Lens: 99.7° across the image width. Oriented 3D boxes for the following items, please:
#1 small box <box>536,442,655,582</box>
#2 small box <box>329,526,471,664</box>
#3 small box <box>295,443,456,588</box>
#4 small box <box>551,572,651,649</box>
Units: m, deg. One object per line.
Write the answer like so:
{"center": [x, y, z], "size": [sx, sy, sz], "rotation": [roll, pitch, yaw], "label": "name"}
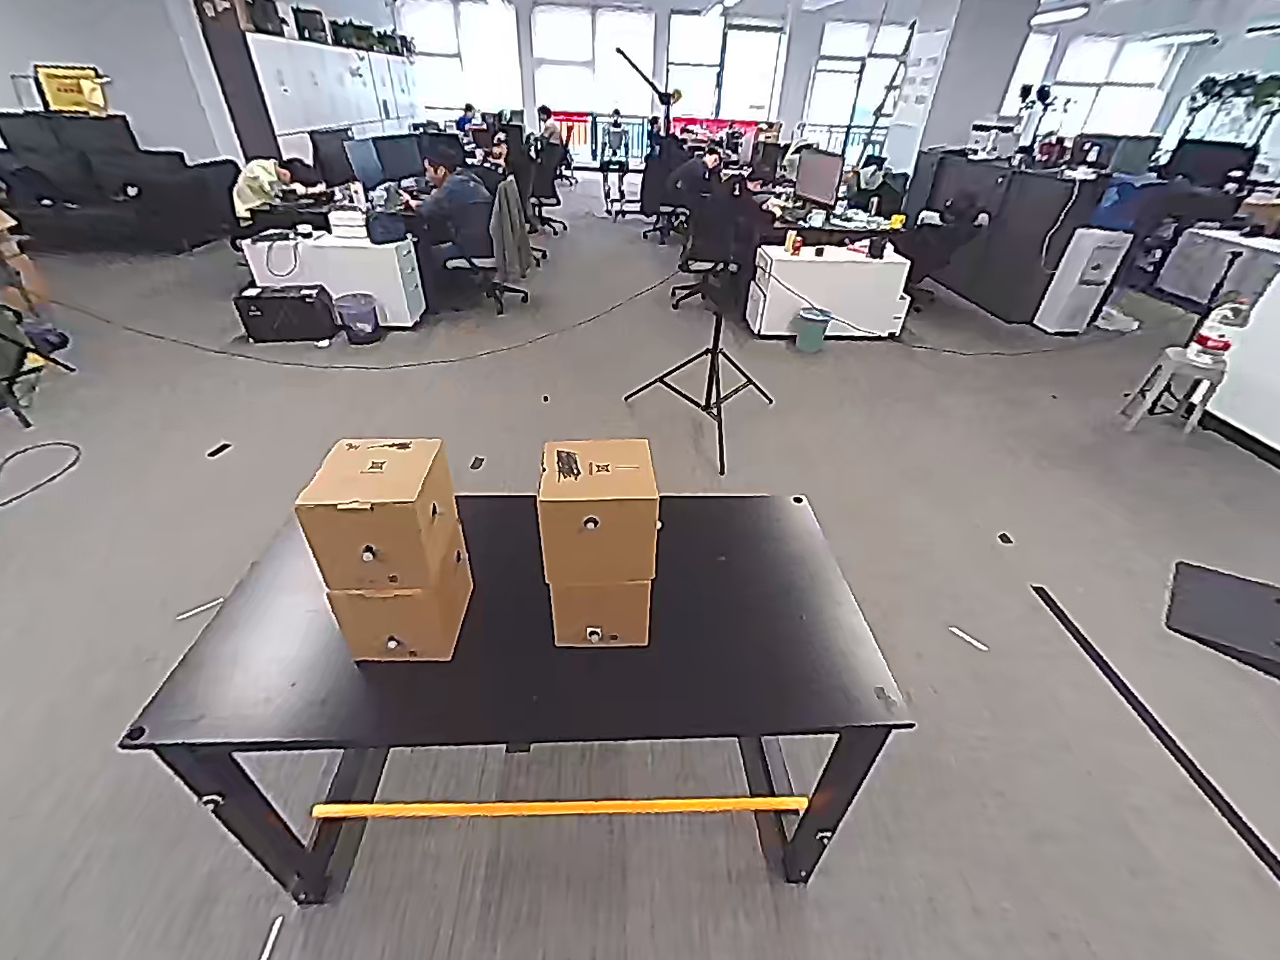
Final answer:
{"center": [-0.070, 0.052, 0.889], "size": [0.179, 0.176, 0.168], "rotation": [-2, 35, -5], "label": "small box"}
{"center": [-0.404, 0.197, 0.949], "size": [0.168, 0.176, 0.179], "rotation": [0, 35, -2], "label": "small box"}
{"center": [-0.402, 0.058, 0.861], "size": [0.168, 0.176, 0.179], "rotation": [-1, 36, -4], "label": "small box"}
{"center": [-0.069, 0.185, 0.987], "size": [0.168, 0.176, 0.179], "rotation": [-2, 36, -3], "label": "small box"}
